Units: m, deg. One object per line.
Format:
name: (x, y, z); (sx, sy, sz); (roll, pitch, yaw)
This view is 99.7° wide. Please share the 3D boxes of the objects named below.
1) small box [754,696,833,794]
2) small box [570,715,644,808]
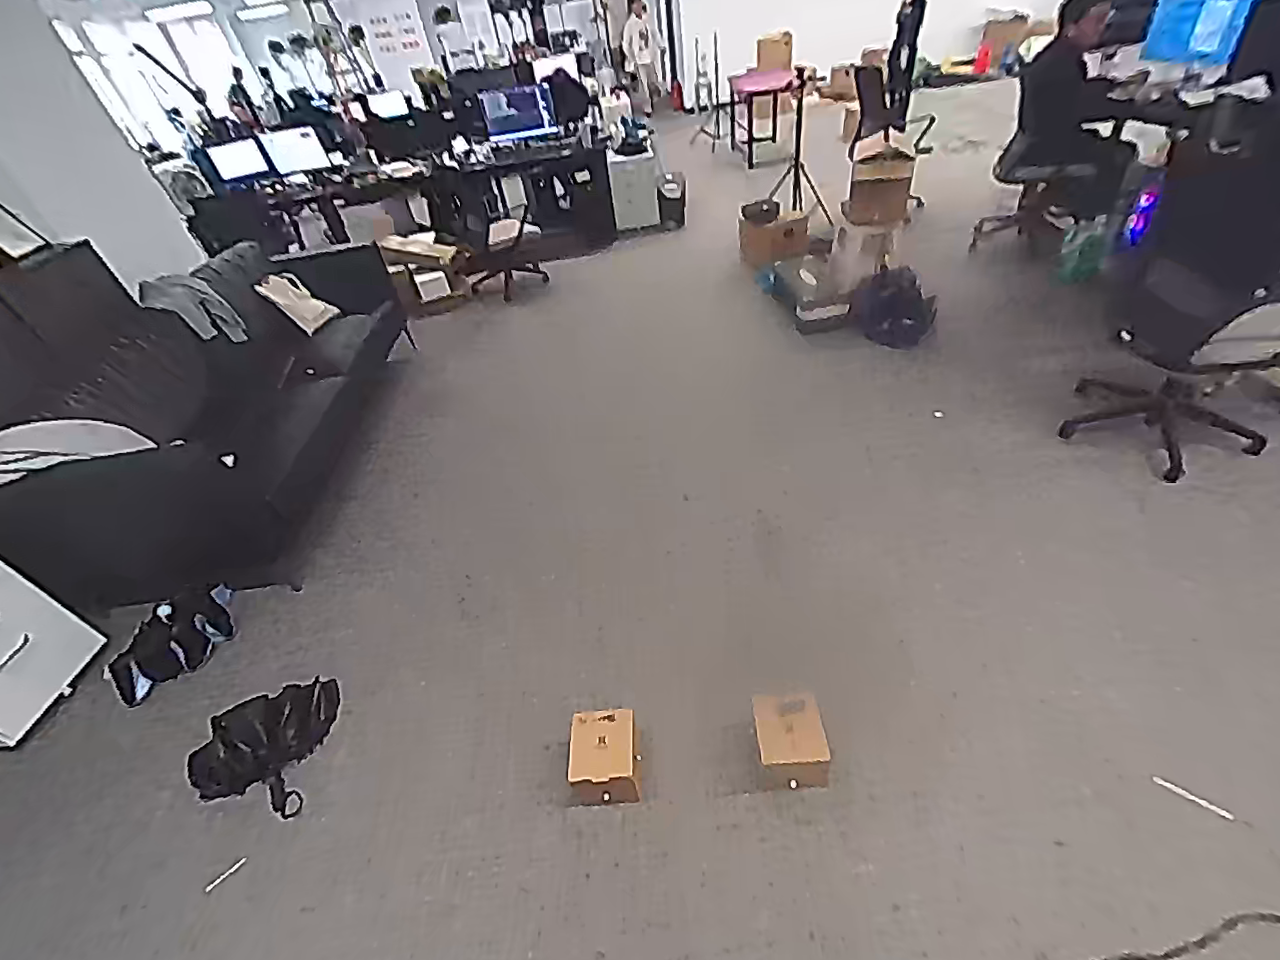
small box: (0.390, 0.690, 1.407); (0.168, 0.176, 0.179); (-7, 41, 5)
small box: (-0.082, 0.754, 1.439); (0.168, 0.176, 0.179); (-7, 40, 4)
